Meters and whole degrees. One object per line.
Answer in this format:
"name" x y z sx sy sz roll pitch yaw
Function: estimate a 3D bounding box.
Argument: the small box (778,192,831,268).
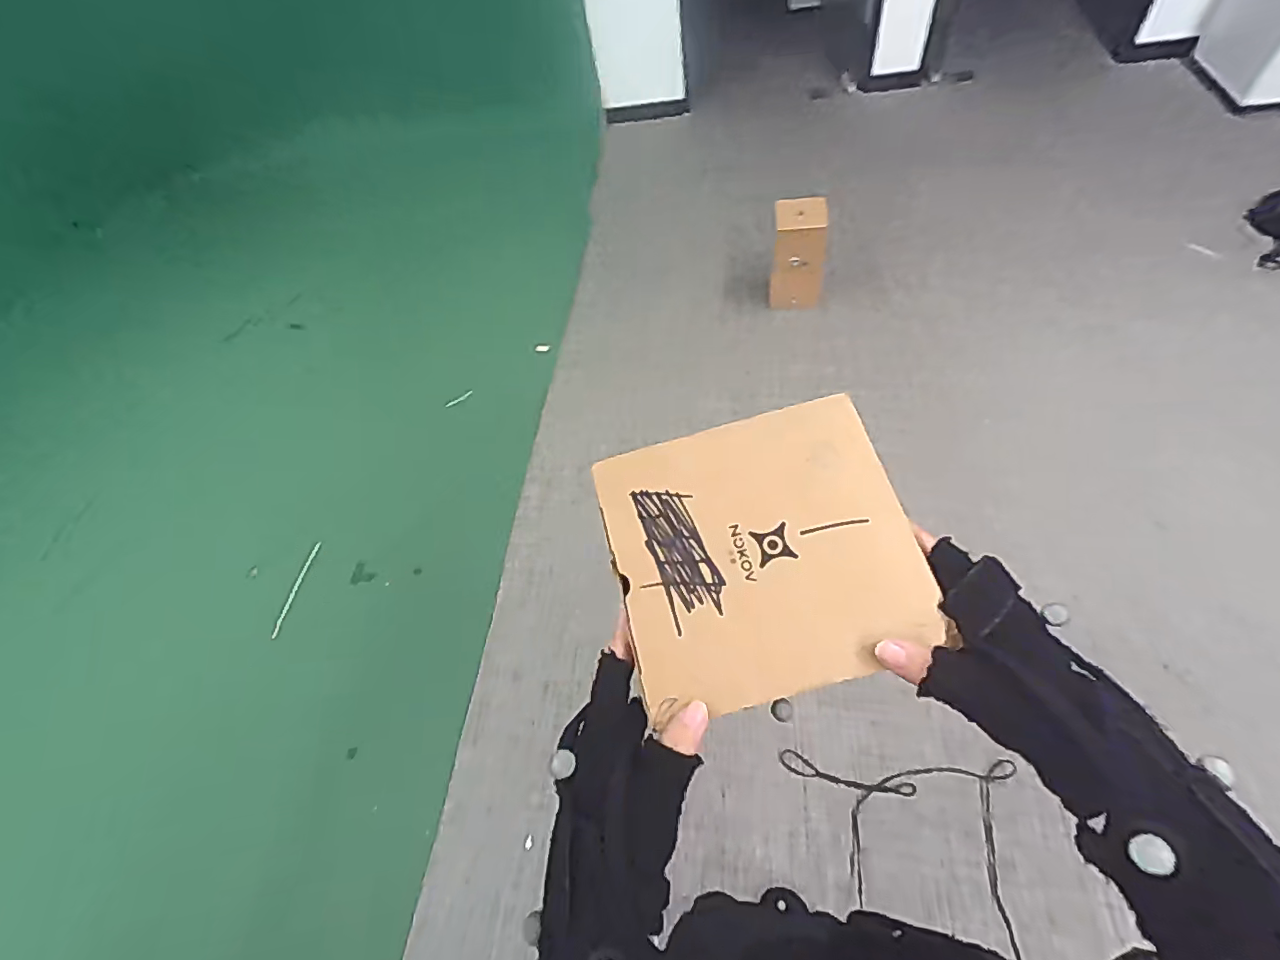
"small box" 0.567 -0.865 1.877 0.168 0.176 0.179 0 58 13

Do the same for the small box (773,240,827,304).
"small box" 0.591 -0.774 2.011 0.179 0.176 0.168 3 57 12

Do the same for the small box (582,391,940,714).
"small box" 0.073 0.065 0.396 0.179 0.176 0.168 -15 68 2
